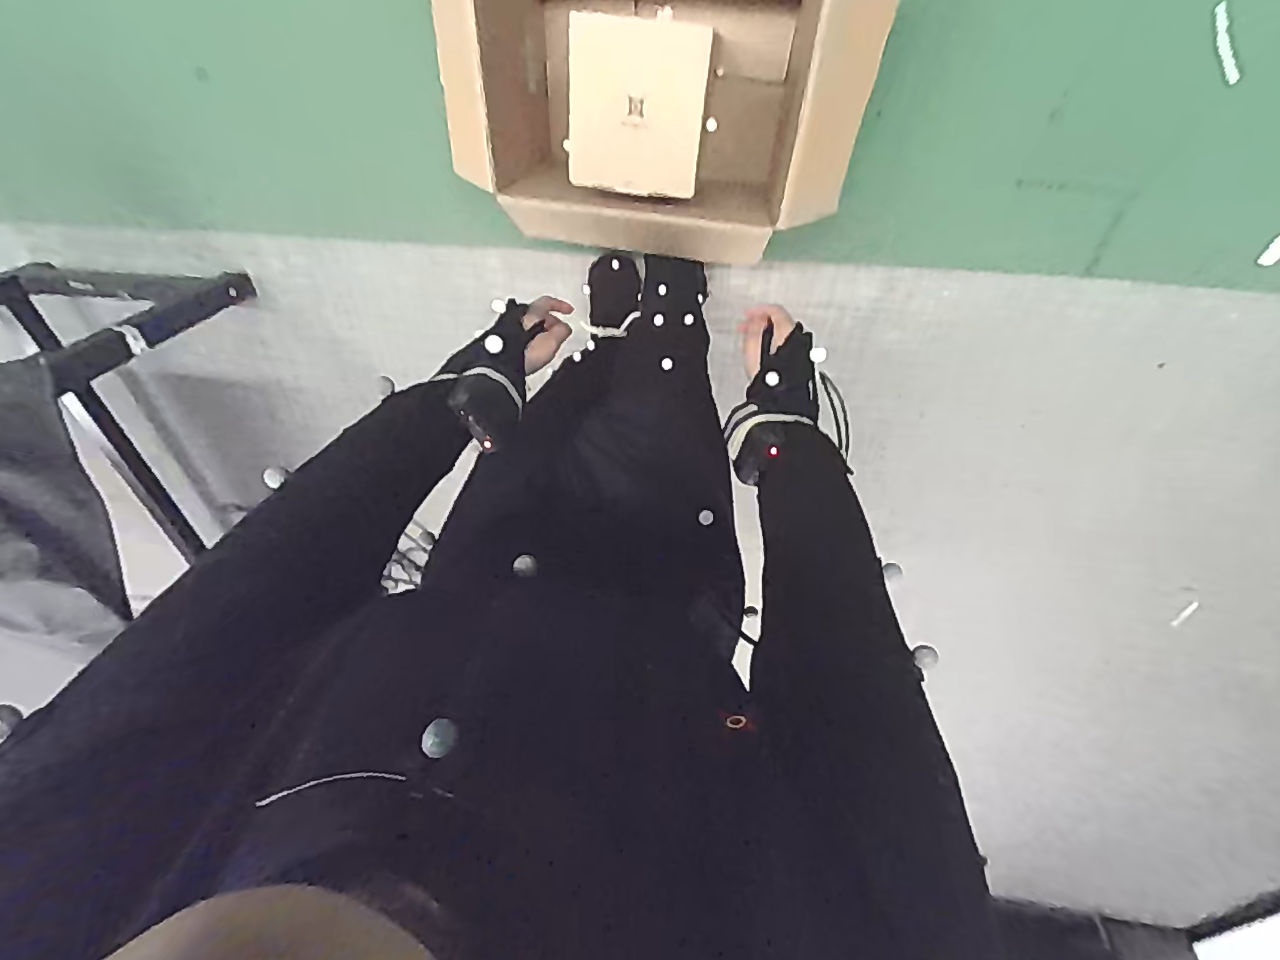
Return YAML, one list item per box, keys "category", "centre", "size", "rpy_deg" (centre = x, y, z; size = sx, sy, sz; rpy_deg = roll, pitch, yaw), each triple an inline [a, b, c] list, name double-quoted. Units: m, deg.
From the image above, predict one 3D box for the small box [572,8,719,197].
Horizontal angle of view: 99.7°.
- category: "small box"
  centre: [0.008, -0.494, 0.714]
  size: [0.168, 0.176, 0.179]
  rpy_deg: [8, 129, 3]
